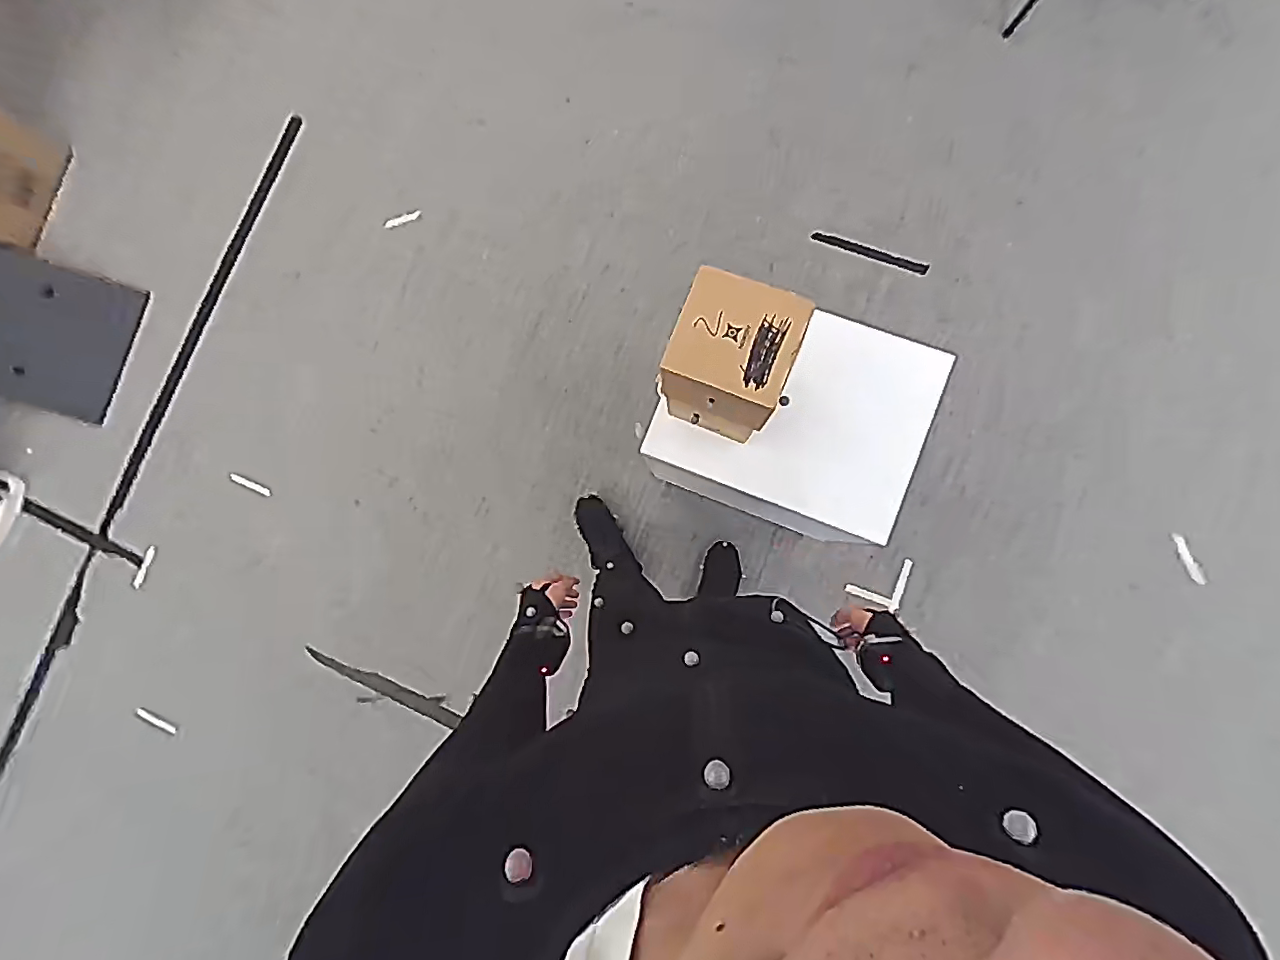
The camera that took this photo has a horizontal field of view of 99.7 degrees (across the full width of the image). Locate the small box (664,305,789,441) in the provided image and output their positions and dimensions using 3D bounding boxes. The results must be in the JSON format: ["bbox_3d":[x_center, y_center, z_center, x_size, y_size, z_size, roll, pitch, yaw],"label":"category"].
[{"bbox_3d":[0.155,-0.186,1.002,0.168,0.176,0.179,22,87,6],"label":"small box"}]
